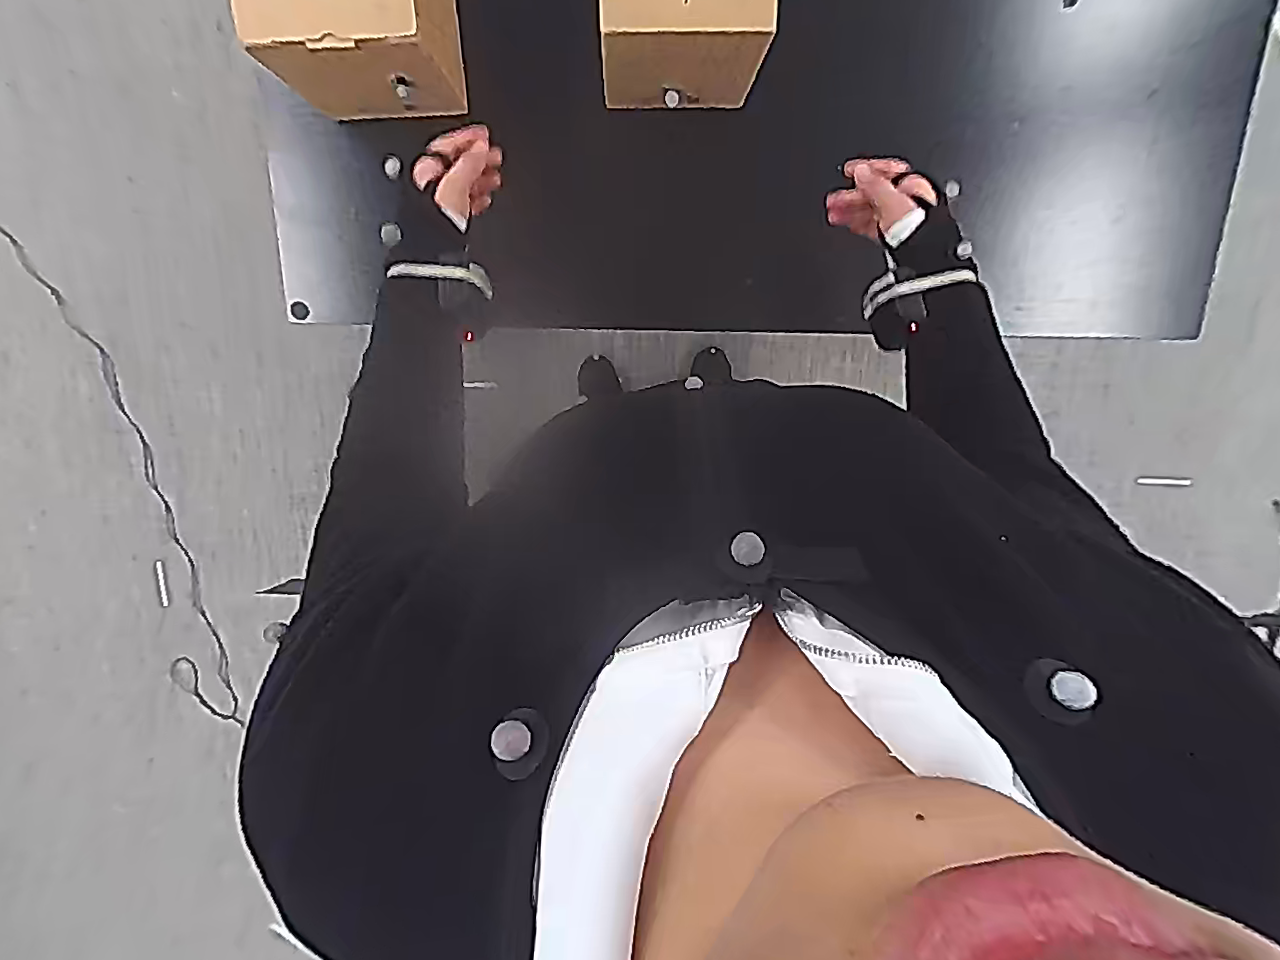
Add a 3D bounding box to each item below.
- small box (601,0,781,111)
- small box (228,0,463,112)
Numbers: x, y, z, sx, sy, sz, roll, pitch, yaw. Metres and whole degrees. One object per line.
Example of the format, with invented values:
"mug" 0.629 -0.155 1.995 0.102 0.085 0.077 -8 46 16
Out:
"small box" 0.044 -0.511 0.550 0.168 0.176 0.179 0 104 -1
"small box" -0.288 -0.498 0.545 0.168 0.176 0.179 -4 103 -2
